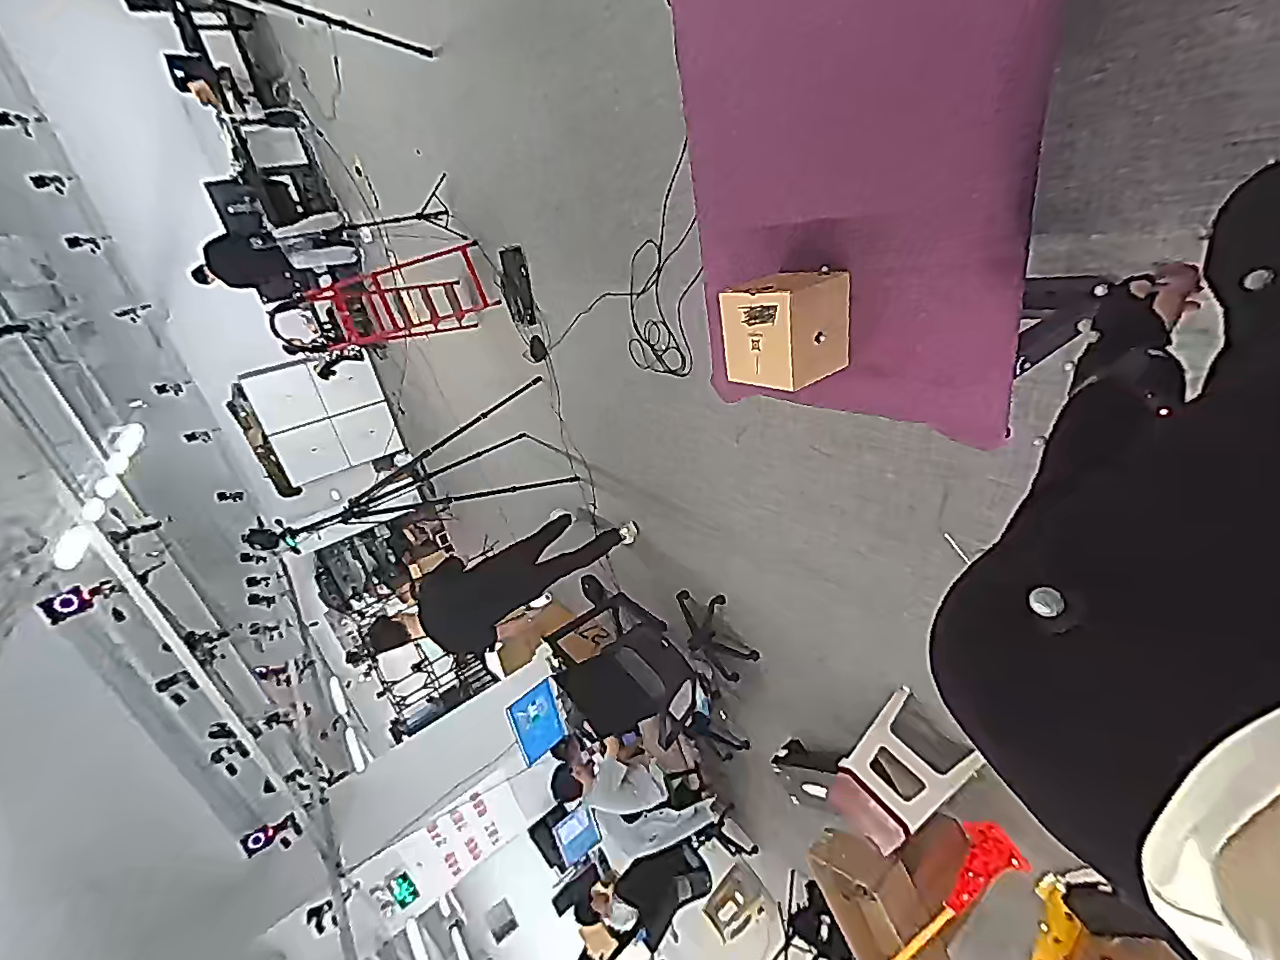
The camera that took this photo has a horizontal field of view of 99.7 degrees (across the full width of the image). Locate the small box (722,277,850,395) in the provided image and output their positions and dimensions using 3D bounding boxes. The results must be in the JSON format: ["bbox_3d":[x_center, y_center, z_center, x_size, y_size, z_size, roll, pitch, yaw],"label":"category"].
[{"bbox_3d":[0.278,-0.280,1.021,0.168,0.176,0.179,24,133,49],"label":"small box"}]
